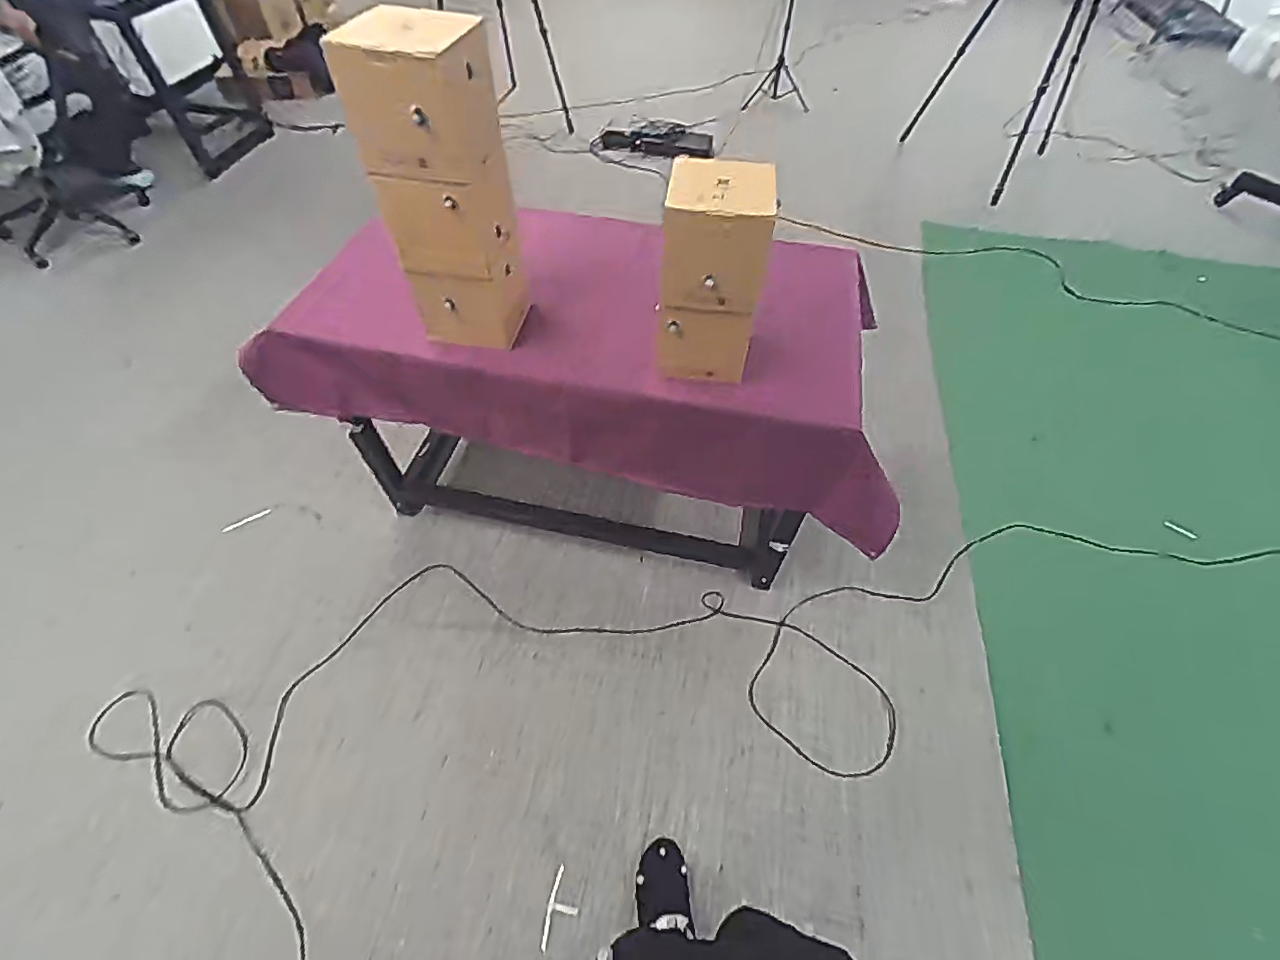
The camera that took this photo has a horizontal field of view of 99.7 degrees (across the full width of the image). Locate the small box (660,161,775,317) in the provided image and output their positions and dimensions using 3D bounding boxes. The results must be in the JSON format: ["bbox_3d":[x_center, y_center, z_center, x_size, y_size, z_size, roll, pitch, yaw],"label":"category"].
[{"bbox_3d":[0.124,-0.399,0.897,0.168,0.176,0.179,7,53,5],"label":"small box"}]

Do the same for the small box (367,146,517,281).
[{"bbox_3d":[-0.333,-0.472,0.950,0.179,0.176,0.168,9,53,4],"label":"small box"}]

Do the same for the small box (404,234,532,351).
[{"bbox_3d":[-0.332,-0.379,1.083,0.179,0.176,0.168,8,54,5],"label":"small box"}]

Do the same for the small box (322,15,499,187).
[{"bbox_3d":[-0.328,-0.571,0.821,0.168,0.176,0.179,11,53,5],"label":"small box"}]
